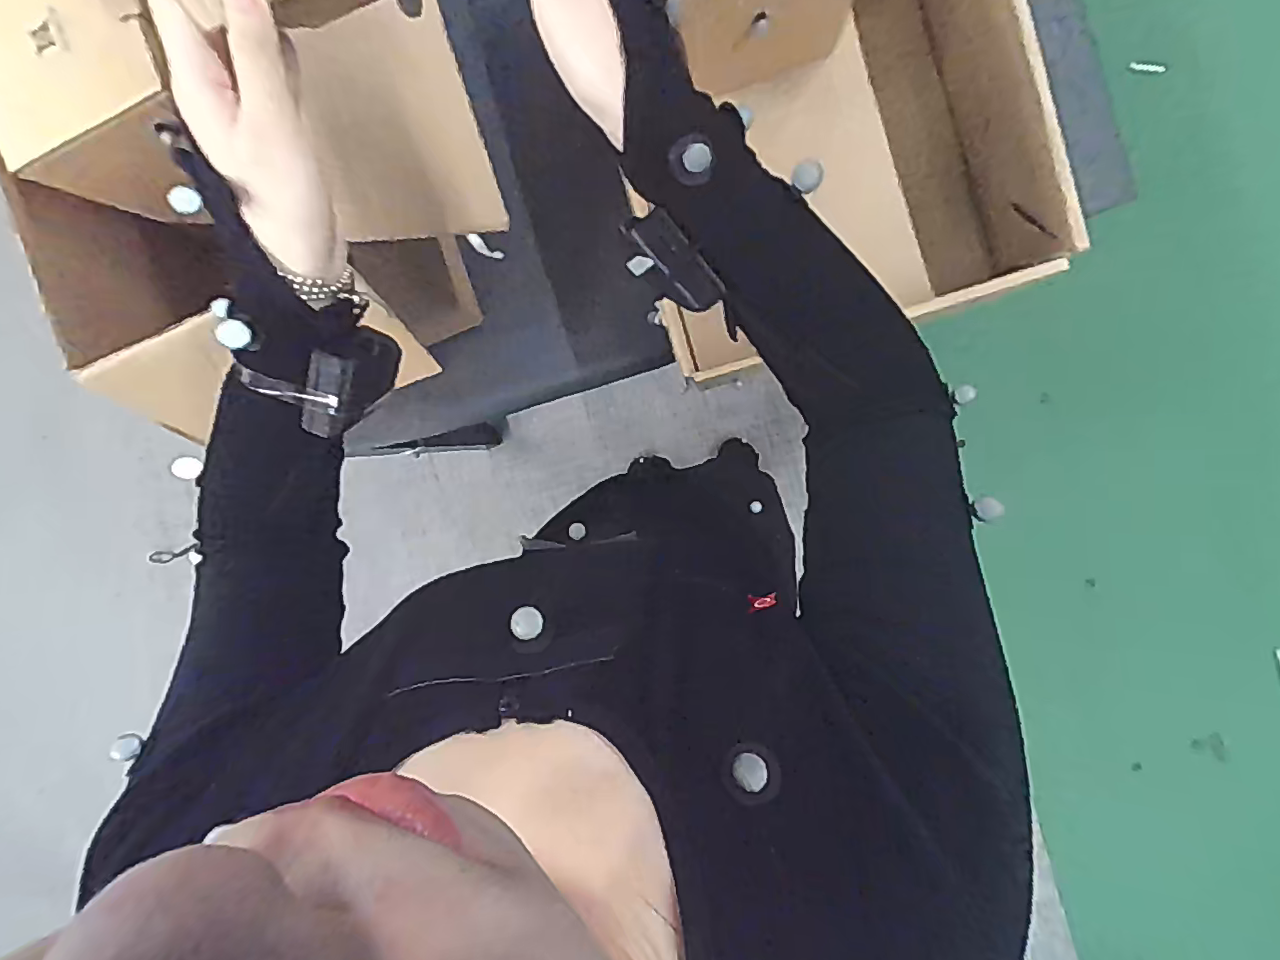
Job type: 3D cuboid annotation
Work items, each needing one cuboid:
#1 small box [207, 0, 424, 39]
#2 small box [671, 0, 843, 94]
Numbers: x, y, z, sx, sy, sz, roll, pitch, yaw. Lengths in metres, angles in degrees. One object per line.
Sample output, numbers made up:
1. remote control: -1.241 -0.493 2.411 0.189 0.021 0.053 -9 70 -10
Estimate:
1. small box: -0.145 -0.337 0.246 0.168 0.176 0.179 -18 132 5
2. small box: 0.118 -0.563 0.578 0.179 0.176 0.168 -15 94 9
